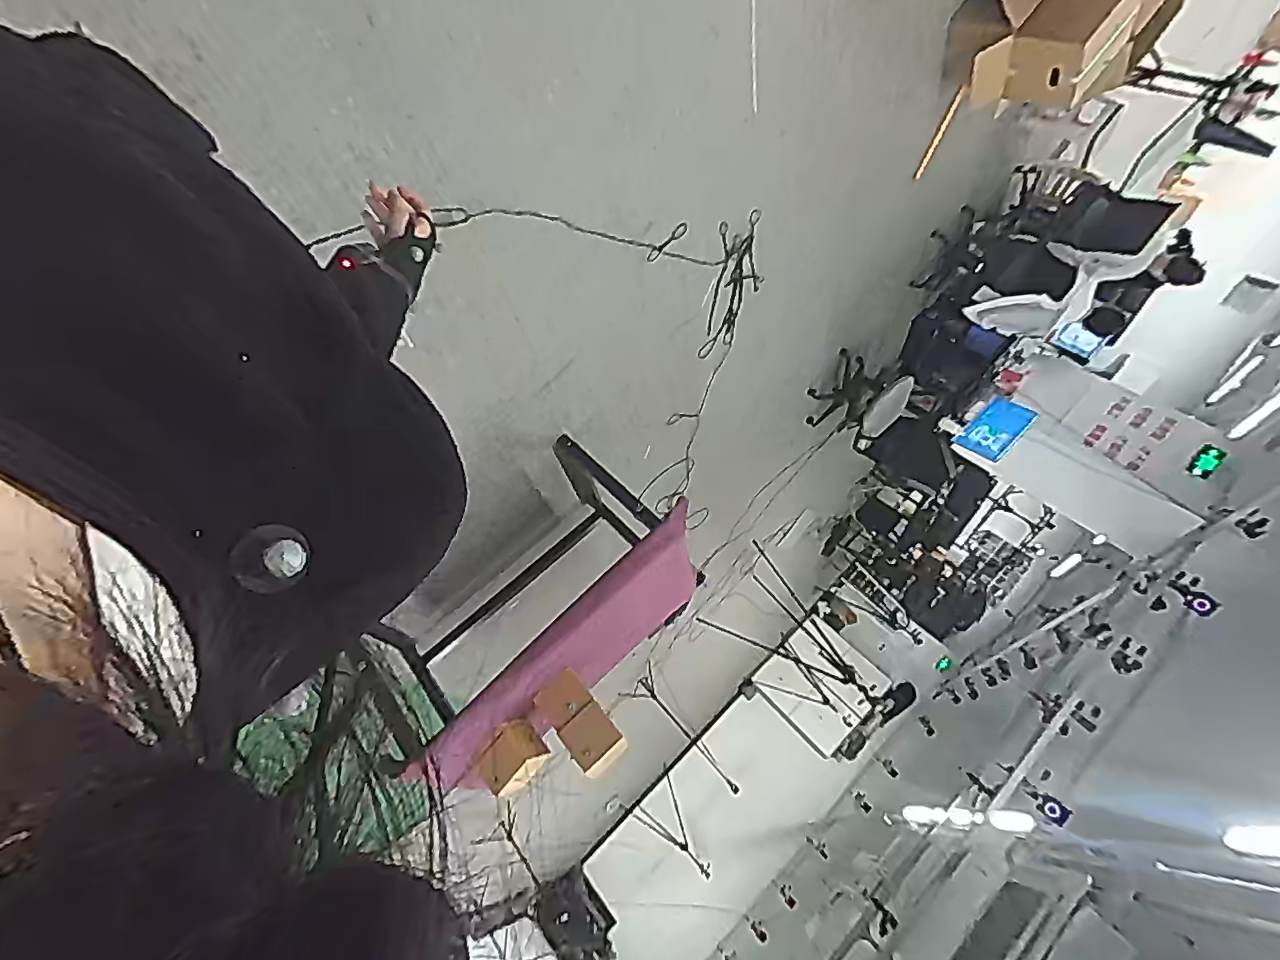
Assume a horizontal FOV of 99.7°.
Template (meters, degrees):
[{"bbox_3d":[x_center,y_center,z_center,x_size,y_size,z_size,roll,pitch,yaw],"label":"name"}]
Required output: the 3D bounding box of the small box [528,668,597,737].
[{"bbox_3d":[-0.288,0.835,2.012,0.179,0.176,0.168,-39,149,-19],"label":"small box"}]

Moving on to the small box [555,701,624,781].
[{"bbox_3d":[-0.184,0.927,1.924,0.179,0.176,0.168,-39,150,-19],"label":"small box"}]

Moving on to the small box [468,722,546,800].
[{"bbox_3d":[-0.479,0.991,1.933,0.179,0.176,0.168,-51,152,2],"label":"small box"}]
